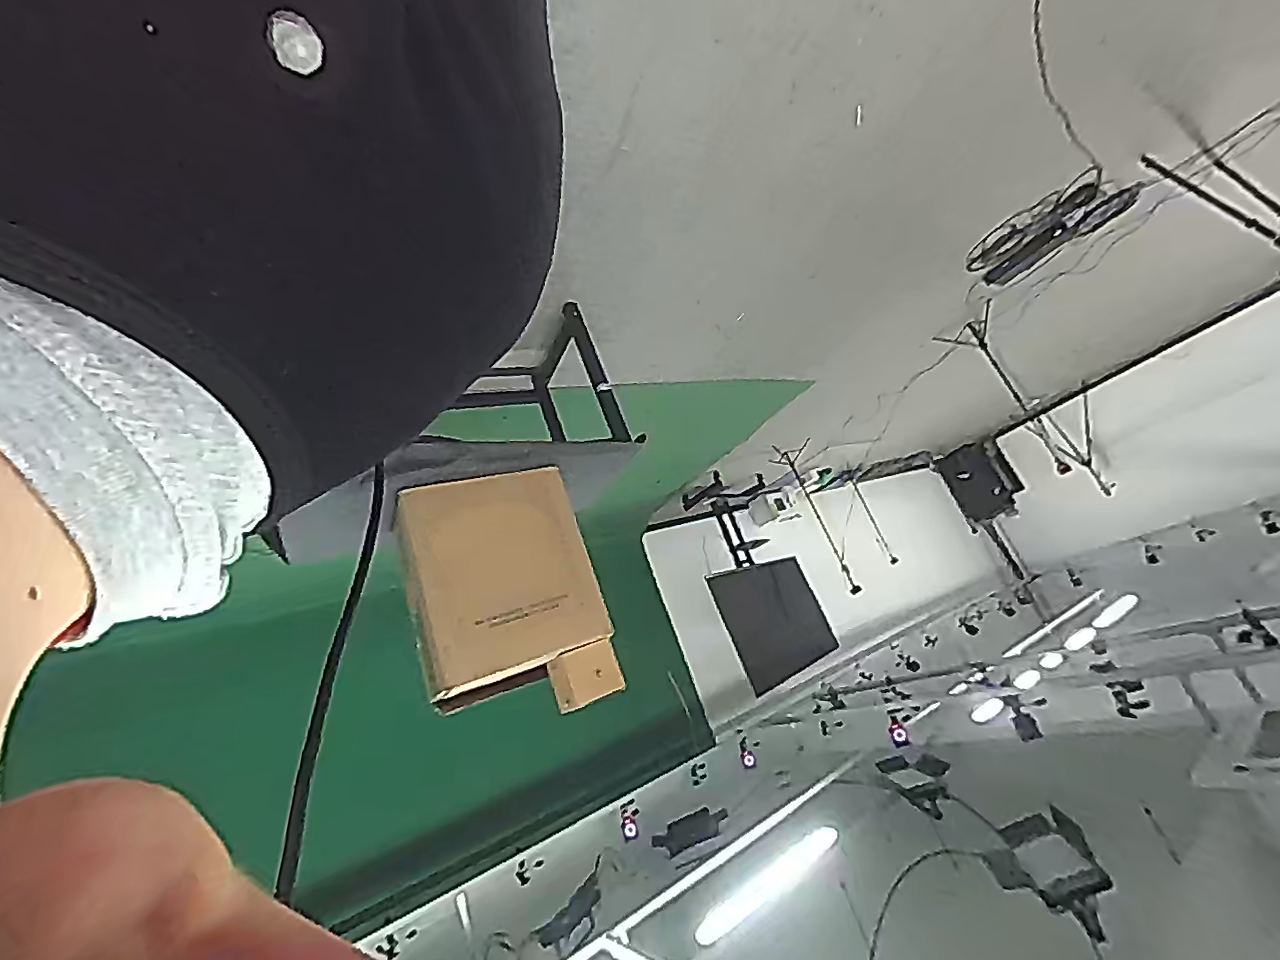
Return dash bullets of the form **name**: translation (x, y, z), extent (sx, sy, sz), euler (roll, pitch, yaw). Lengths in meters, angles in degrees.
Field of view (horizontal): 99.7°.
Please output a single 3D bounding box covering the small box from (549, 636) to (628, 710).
- **small box**: translation (-0.171, 0.626, 1.764), extent (0.179, 0.176, 0.168), euler (-14, 160, -32)
